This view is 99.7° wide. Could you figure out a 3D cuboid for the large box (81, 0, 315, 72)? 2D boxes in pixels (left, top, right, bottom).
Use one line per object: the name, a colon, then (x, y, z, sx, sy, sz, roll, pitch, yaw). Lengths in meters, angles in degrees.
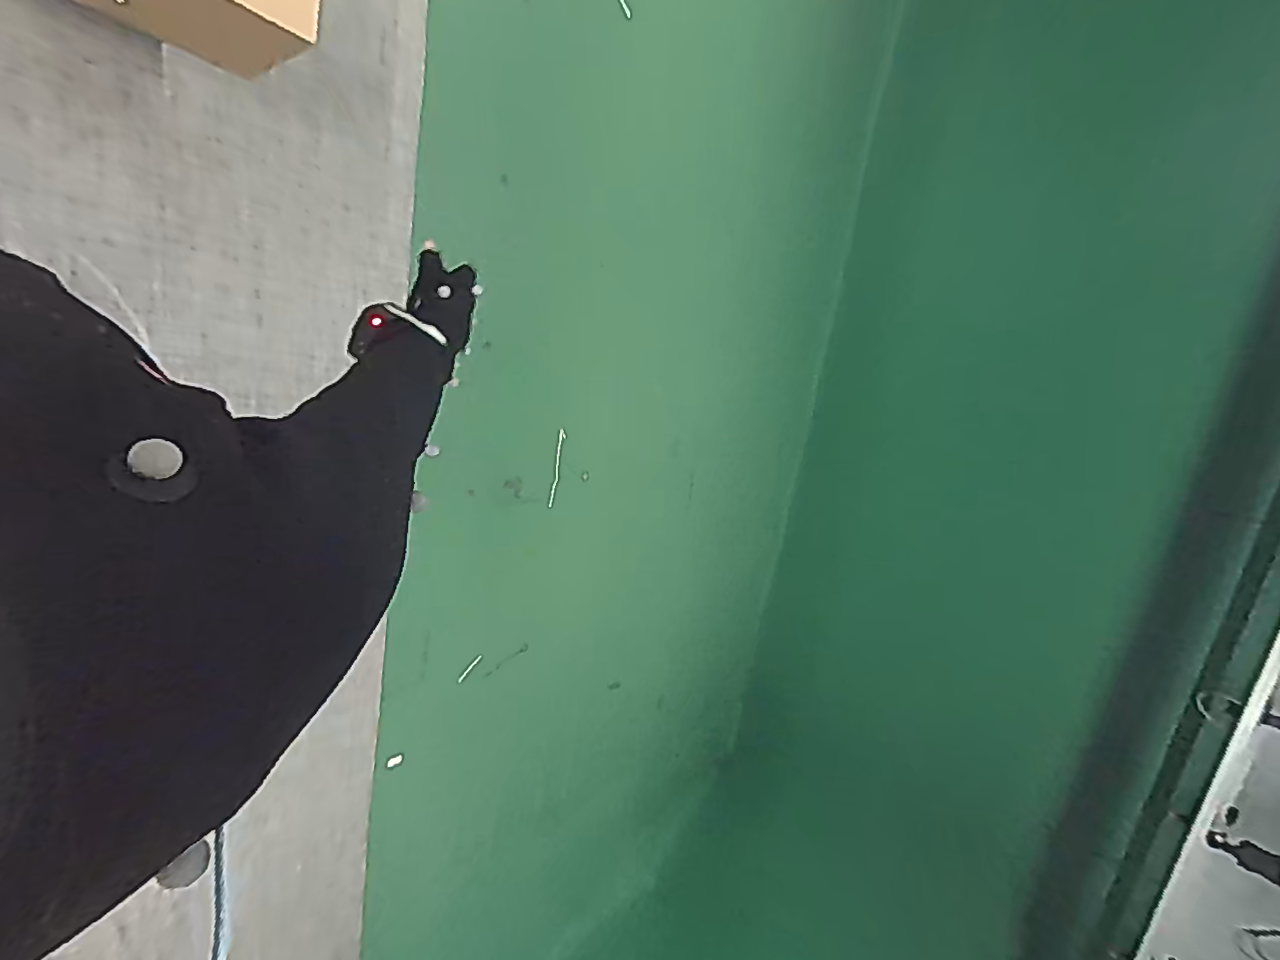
large box: (-0.723, -0.860, 0.753, 0.408, 0.320, 0.320, -4, 107, -52)
